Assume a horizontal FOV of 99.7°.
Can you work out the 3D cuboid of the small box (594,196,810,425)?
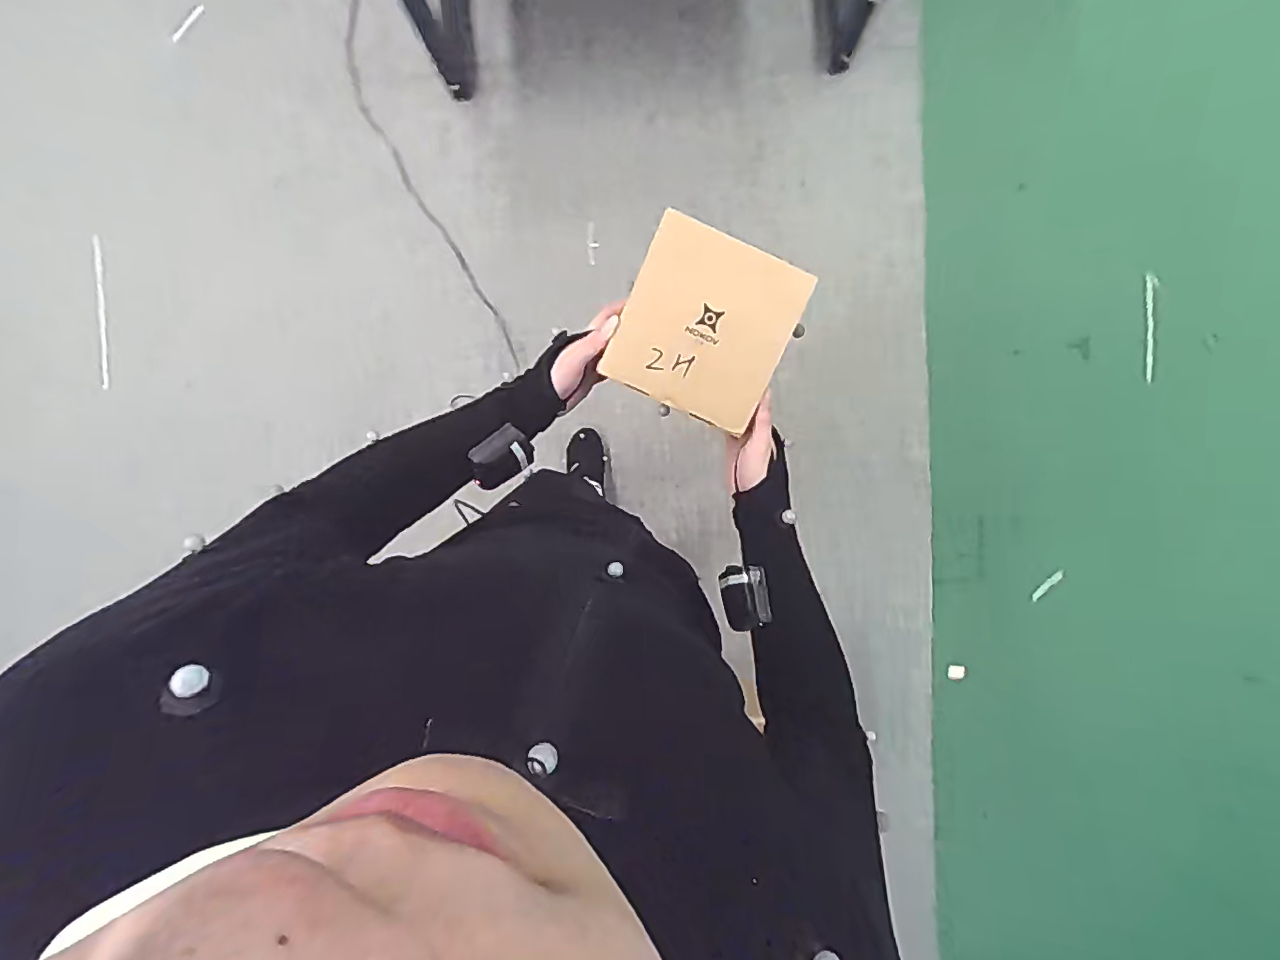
[{"bbox_3d":[0.062,-0.178,0.617,0.168,0.176,0.179,24,100,-2],"label":"small box"}]
